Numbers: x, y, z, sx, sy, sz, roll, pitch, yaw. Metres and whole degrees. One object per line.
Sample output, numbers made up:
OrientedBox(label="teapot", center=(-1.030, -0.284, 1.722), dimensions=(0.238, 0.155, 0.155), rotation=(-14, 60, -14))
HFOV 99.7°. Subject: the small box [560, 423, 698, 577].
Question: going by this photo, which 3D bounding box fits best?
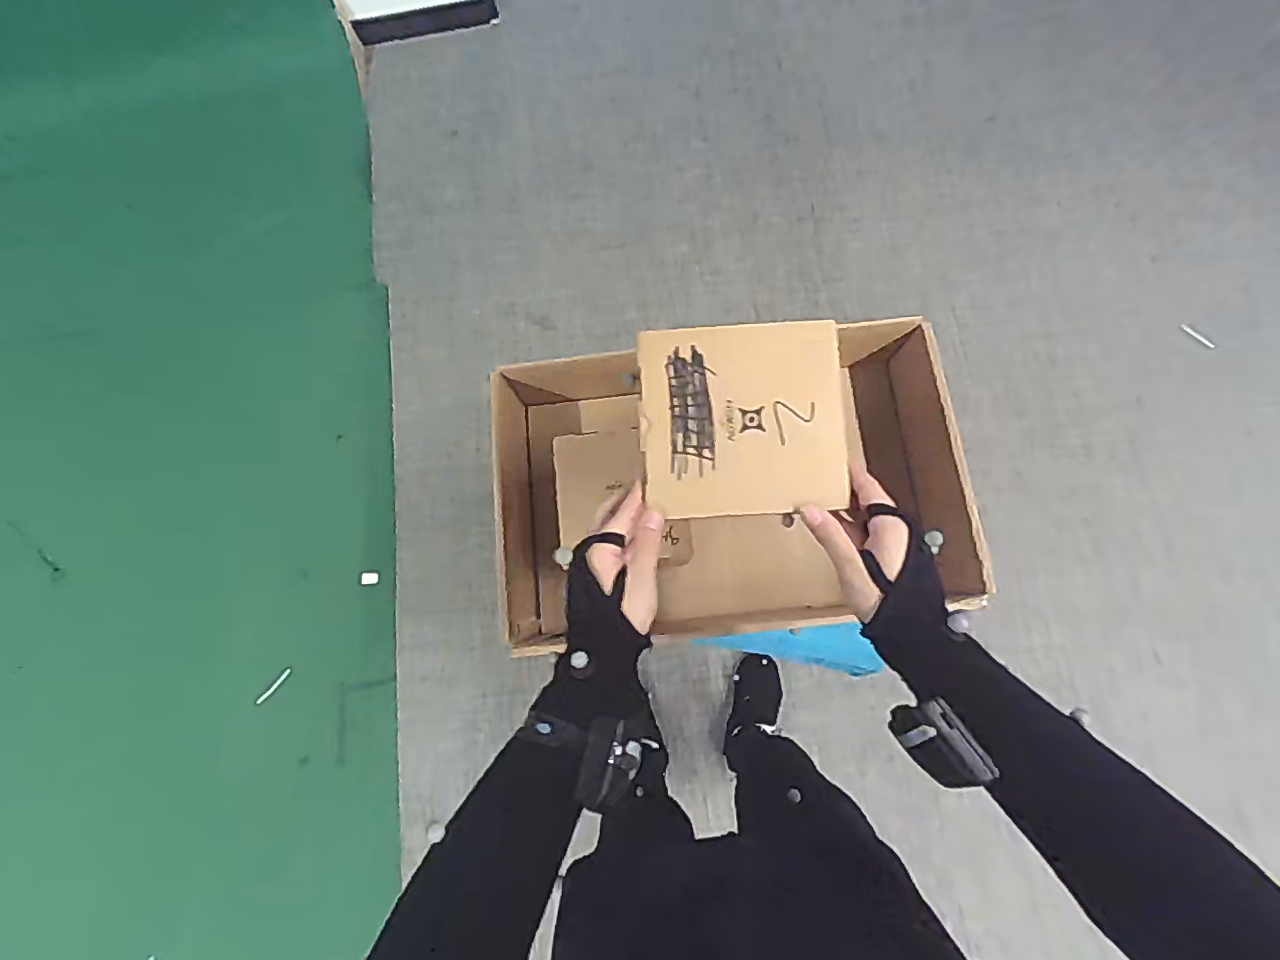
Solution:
OrientedBox(label="small box", center=(-0.013, 0.037, 0.763), dimensions=(0.168, 0.176, 0.179), rotation=(-7, 76, 3))
